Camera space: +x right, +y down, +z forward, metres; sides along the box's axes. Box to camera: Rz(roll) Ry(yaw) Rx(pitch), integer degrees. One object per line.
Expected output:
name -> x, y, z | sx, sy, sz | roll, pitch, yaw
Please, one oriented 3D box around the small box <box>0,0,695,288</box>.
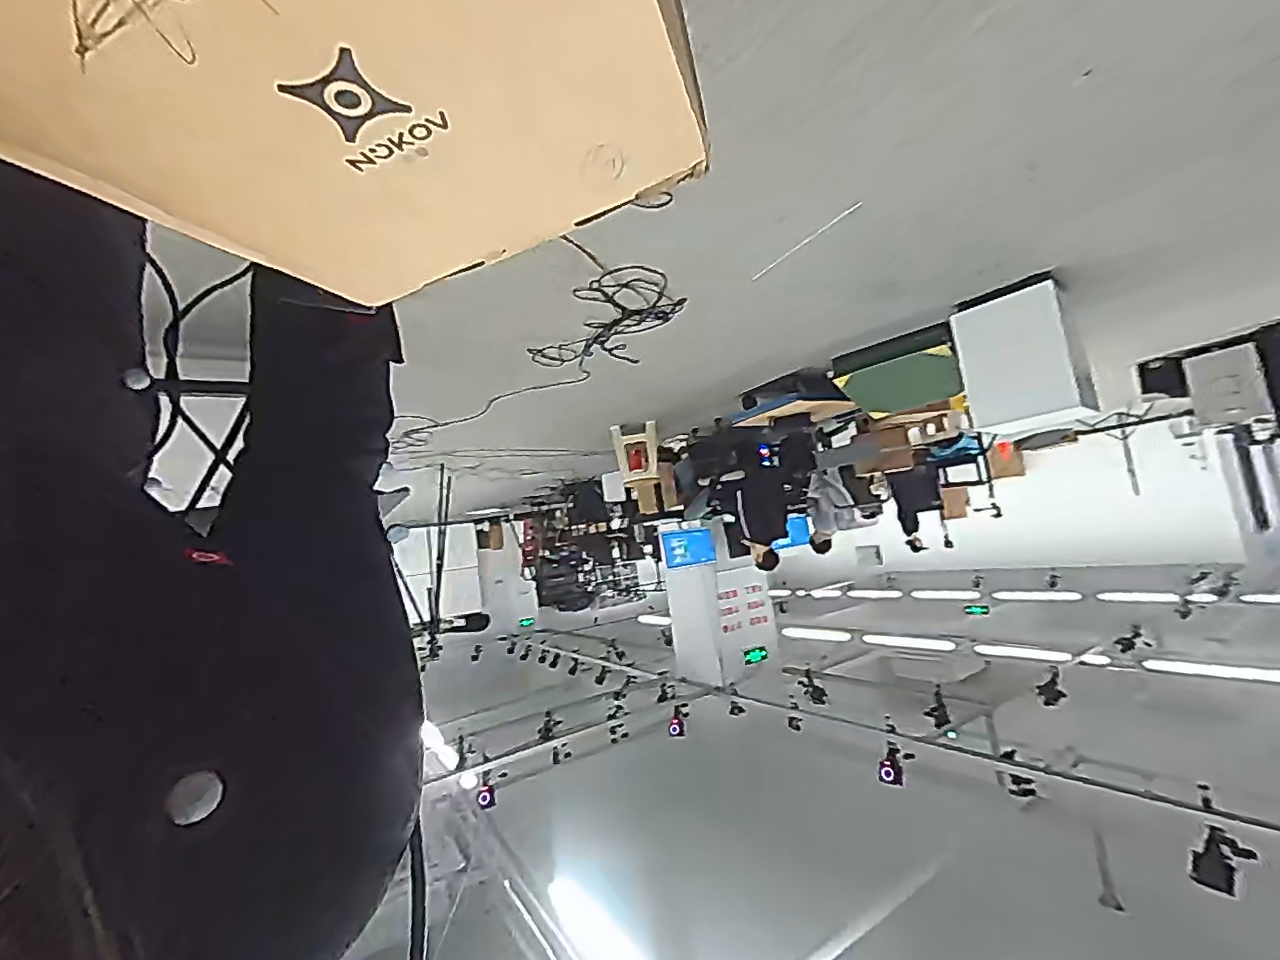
small box -> -0.094, -0.187, 0.156 | 0.168, 0.176, 0.179 | -14, 174, 17
